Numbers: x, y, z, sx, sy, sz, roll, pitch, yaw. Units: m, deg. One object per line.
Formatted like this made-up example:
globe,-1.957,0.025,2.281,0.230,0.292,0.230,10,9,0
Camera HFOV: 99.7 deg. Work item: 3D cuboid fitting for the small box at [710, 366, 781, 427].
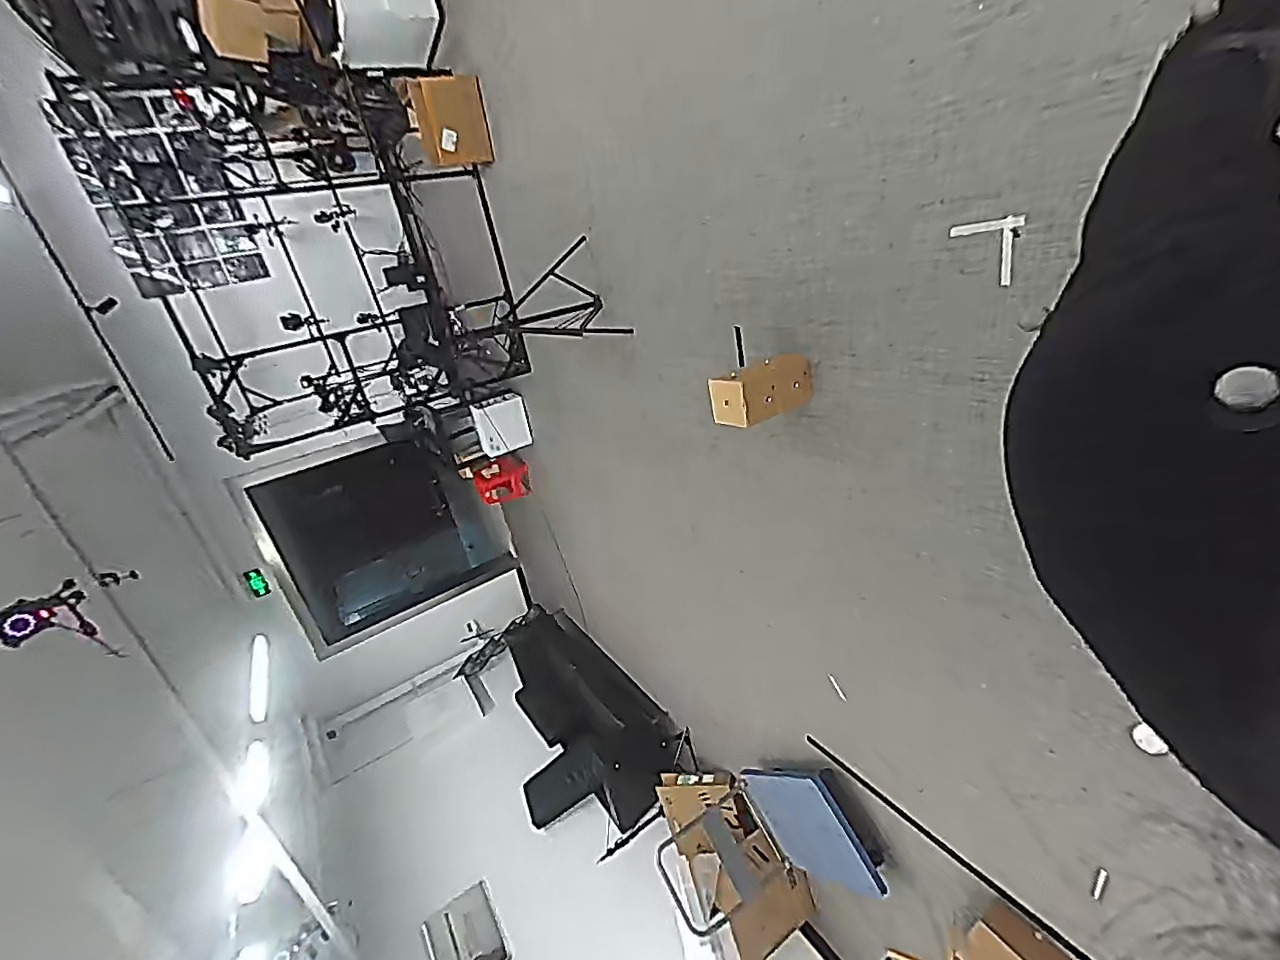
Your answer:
small box,0.376,-0.302,1.927,0.179,0.176,0.168,20,129,55

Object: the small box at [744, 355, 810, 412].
small box,0.510,-0.361,1.998,0.179,0.176,0.168,20,128,56
